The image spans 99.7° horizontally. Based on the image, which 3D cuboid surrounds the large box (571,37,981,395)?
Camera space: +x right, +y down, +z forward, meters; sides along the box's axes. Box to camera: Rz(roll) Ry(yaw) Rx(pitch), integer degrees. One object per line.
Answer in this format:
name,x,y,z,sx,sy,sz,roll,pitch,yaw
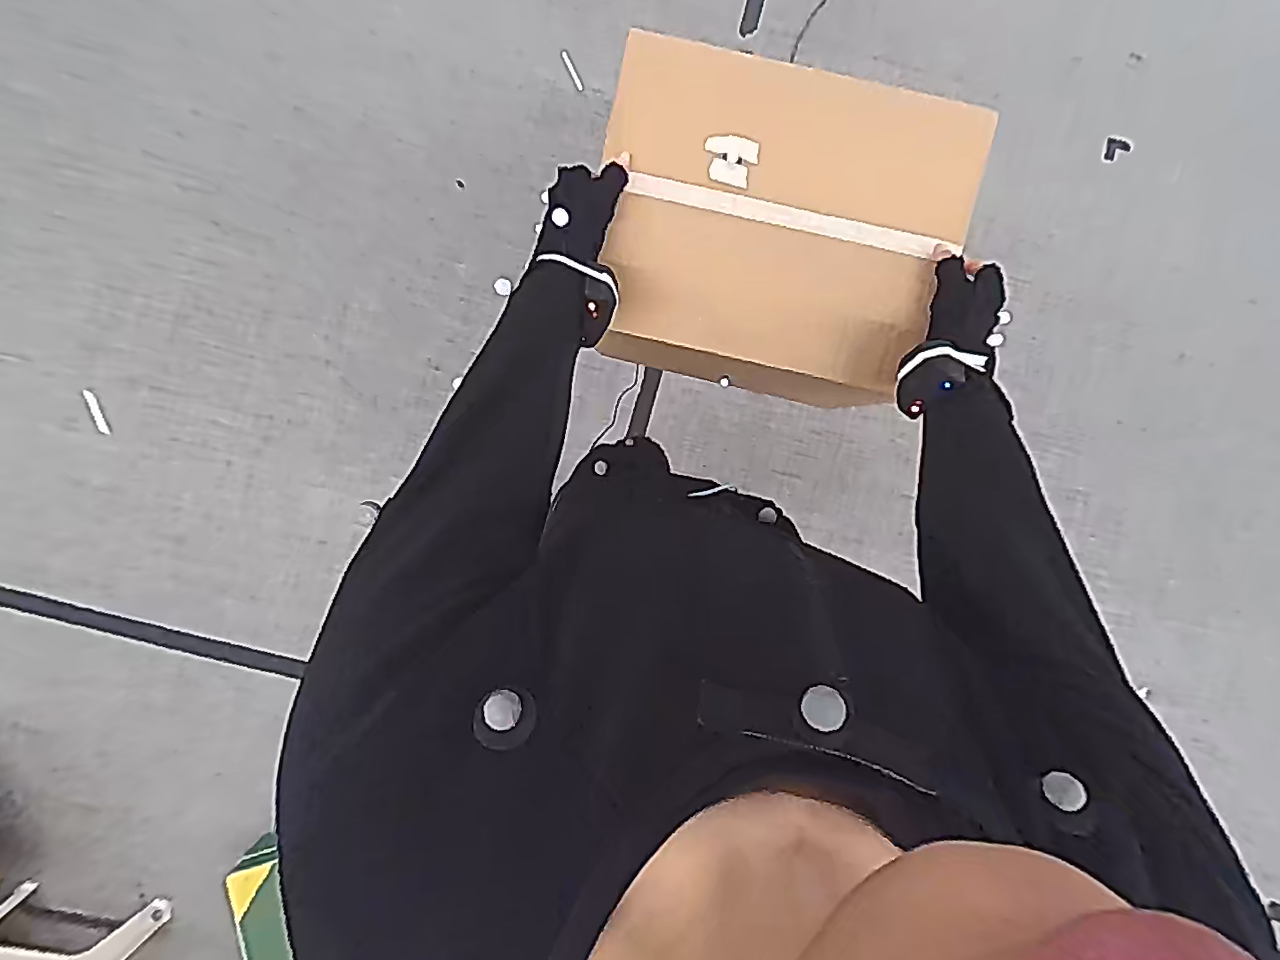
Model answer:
large box,0.152,-0.310,0.748,0.408,0.320,0.320,13,95,1
